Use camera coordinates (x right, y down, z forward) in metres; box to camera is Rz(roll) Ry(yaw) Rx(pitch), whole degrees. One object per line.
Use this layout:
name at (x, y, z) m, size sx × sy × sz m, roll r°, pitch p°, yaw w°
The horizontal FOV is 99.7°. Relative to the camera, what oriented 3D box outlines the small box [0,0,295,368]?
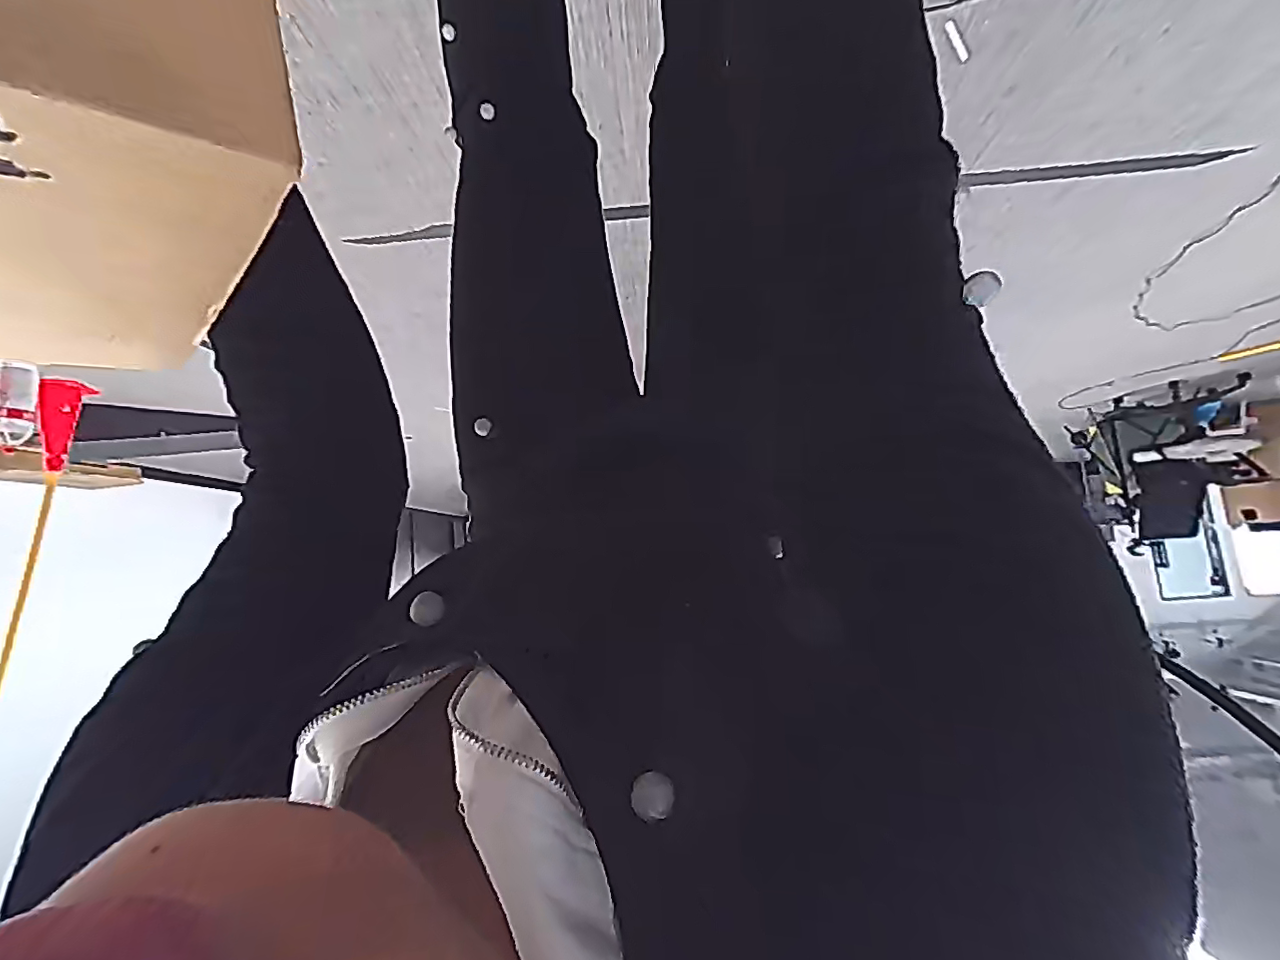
small box at (-0.204, -0.132, 0.117) m, size 0.179 × 0.176 × 0.168 m, roll -8°, pitch -179°, yaw 41°
